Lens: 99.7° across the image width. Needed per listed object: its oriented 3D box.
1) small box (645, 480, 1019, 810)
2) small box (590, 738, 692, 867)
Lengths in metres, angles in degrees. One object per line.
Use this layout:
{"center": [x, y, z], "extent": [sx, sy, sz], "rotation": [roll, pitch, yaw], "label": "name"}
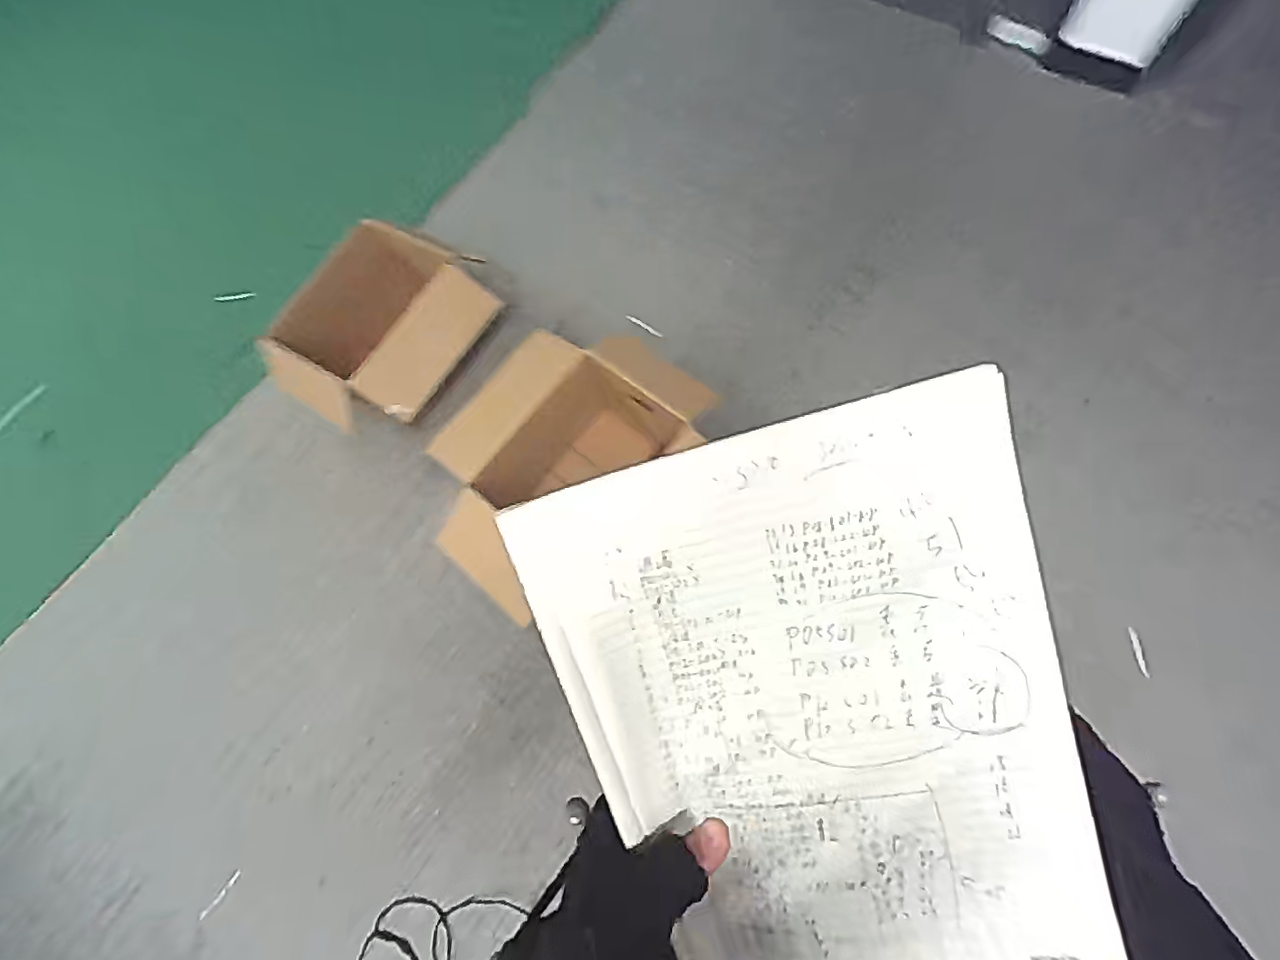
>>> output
{"center": [0.113, 0.103, 0.376], "extent": [0.179, 0.176, 0.168], "rotation": [-10, 78, 11], "label": "small box"}
{"center": [0.011, 0.664, 1.134], "extent": [0.179, 0.176, 0.168], "rotation": [9, 79, 24], "label": "small box"}
